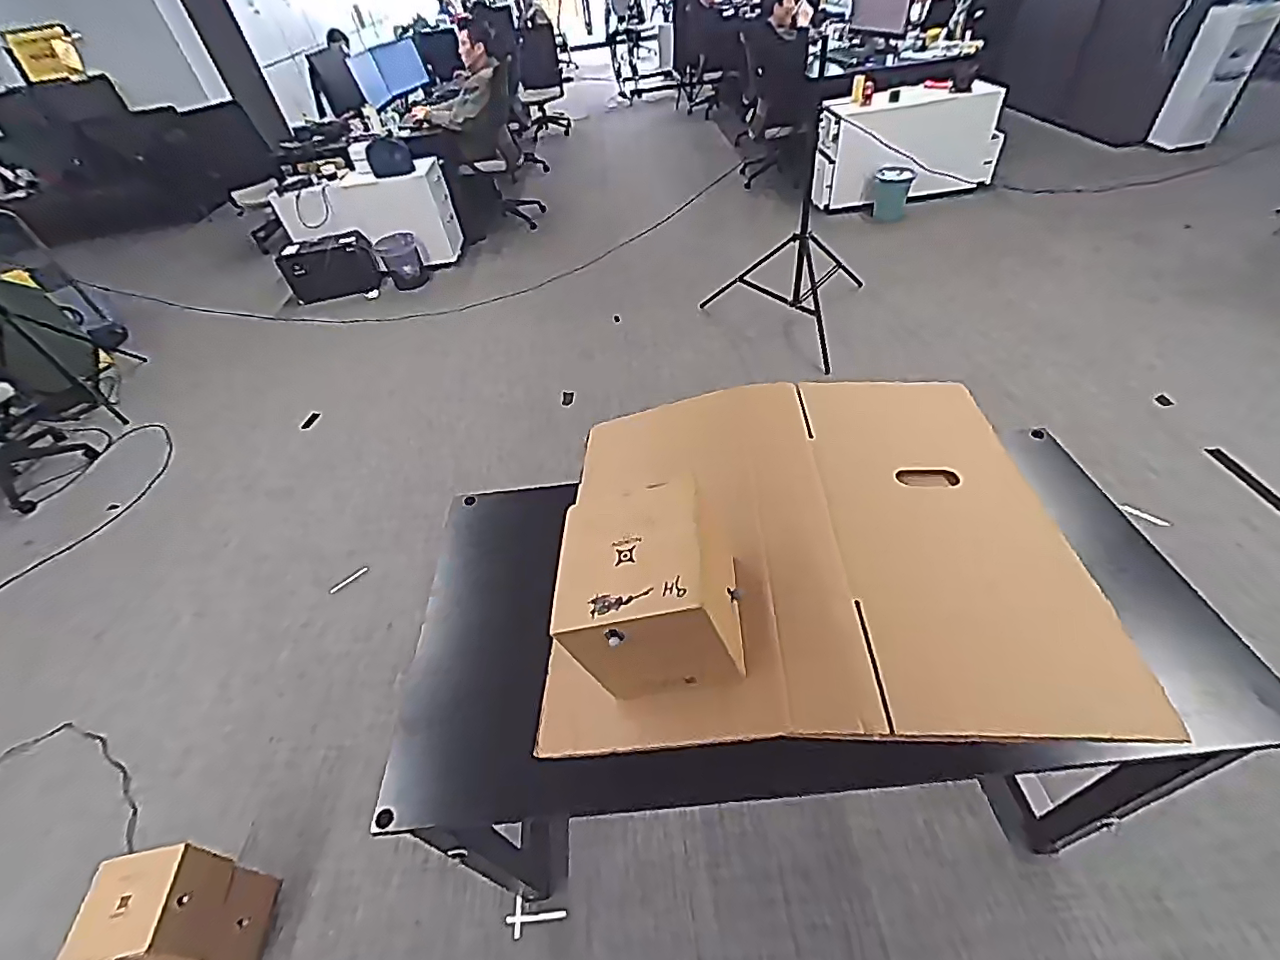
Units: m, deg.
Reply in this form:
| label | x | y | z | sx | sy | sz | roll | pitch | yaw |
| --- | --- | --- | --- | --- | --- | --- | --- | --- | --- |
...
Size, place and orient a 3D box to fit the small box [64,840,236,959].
| label | x | y | z | sx | sy | sz | roll | pitch | yaw |
| --- | --- | --- | --- | --- | --- | --- | --- | --- | --- |
| small box | -0.964 | 0.861 | 1.086 | 0.168 | 0.176 | 0.179 | -11 | 43 | -4 |

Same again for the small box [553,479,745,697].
| label | x | y | z | sx | sy | sz | roll | pitch | yaw |
| --- | --- | --- | --- | --- | --- | --- | --- | --- | --- |
| small box | 0.019 | 0.131 | 0.641 | 0.168 | 0.176 | 0.179 | -15 | 42 | 17 |

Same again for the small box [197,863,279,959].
| label | x | y | z | sx | sy | sz | roll | pitch | yaw |
| --- | --- | --- | --- | --- | --- | --- | --- | --- | --- |
| small box | -0.944 | 0.979 | 1.196 | 0.168 | 0.176 | 0.179 | -9 | 45 | -1 |
